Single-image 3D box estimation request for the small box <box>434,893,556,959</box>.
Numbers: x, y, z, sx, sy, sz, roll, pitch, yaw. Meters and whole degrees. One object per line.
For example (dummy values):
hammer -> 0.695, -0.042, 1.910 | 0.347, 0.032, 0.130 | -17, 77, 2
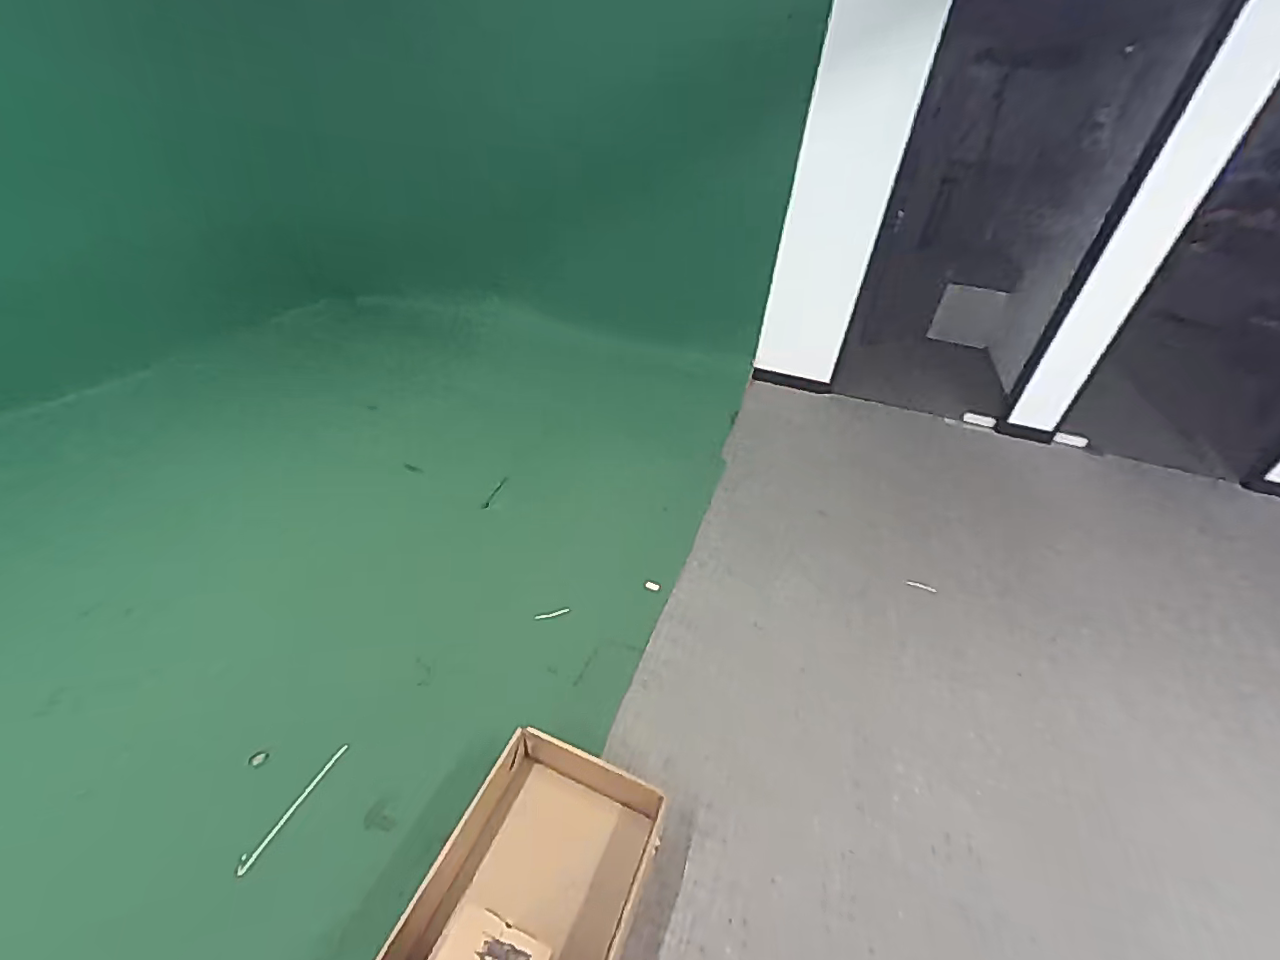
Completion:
small box -> -0.250, 0.825, 0.871 | 0.168, 0.176, 0.179 | 18, 39, 15
